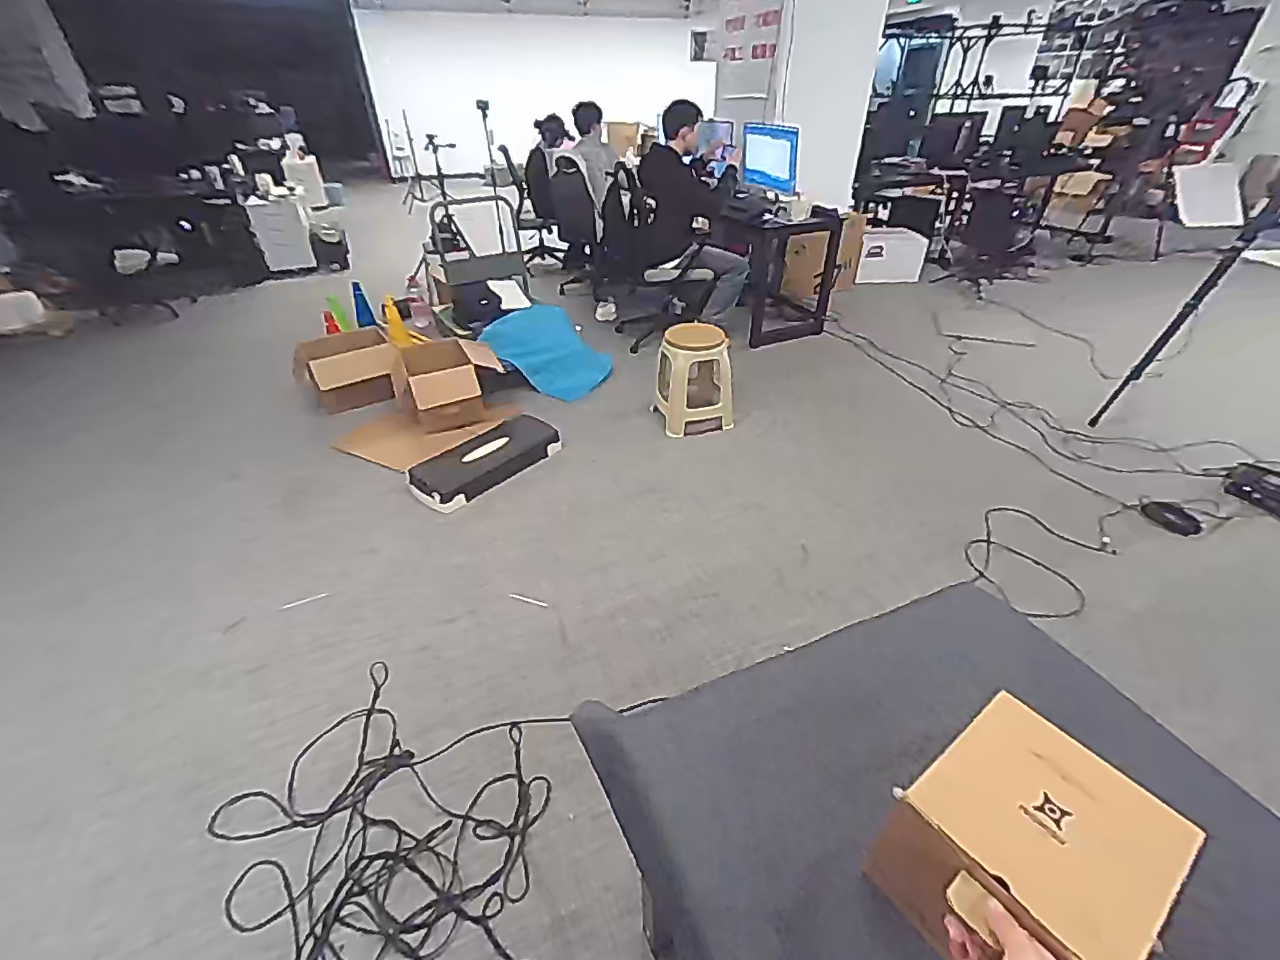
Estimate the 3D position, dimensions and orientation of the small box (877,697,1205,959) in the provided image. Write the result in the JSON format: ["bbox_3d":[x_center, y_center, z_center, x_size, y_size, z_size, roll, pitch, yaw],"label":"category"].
[{"bbox_3d":[0.346,0.352,0.500,0.179,0.176,0.168,-23,42,-29],"label":"small box"}]
